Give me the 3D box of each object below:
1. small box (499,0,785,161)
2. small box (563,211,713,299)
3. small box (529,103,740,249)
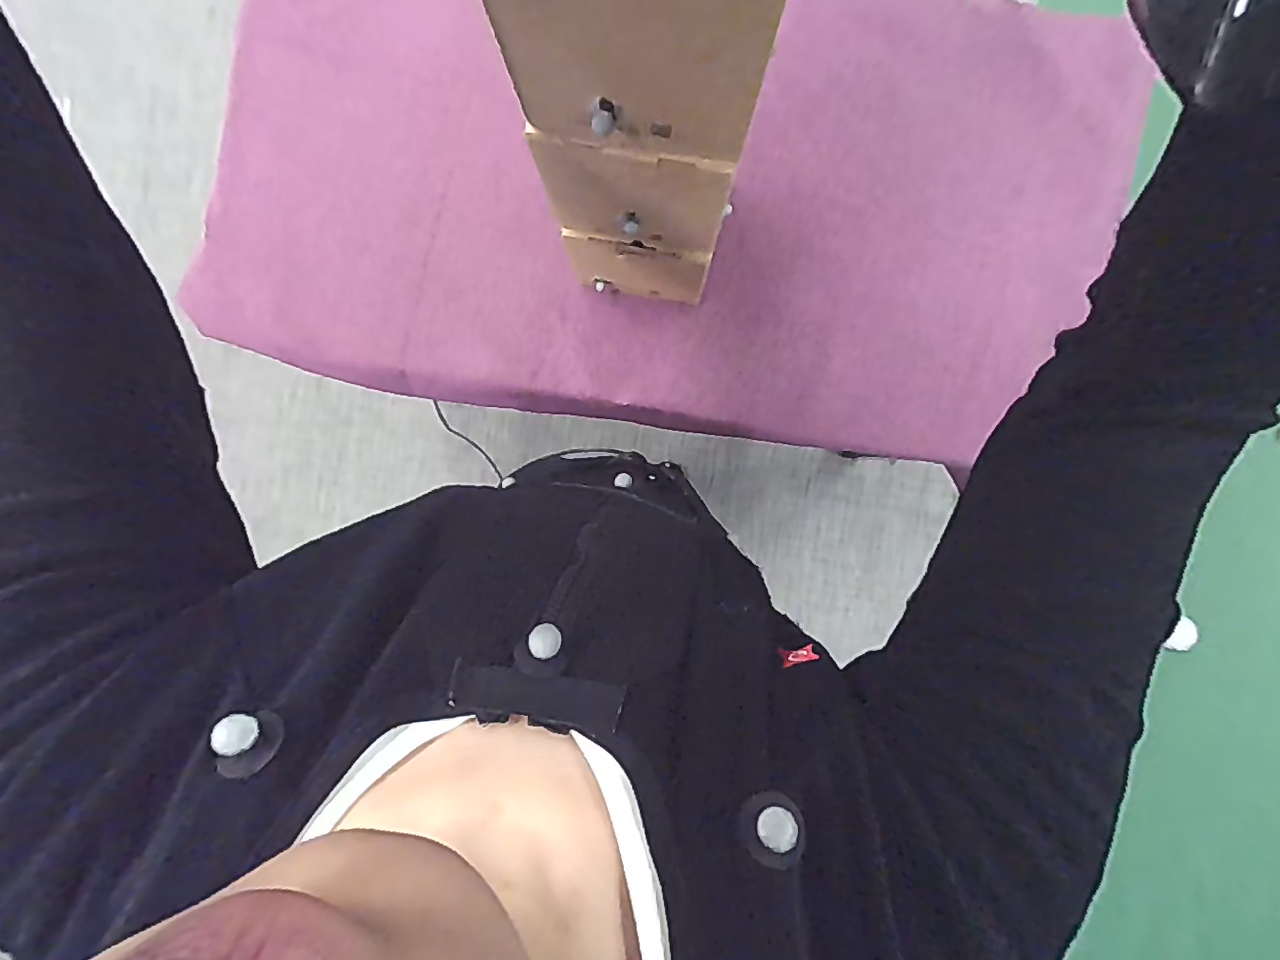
[{"bbox_3d":[0.008,-0.338,0.330,0.168,0.176,0.179,11,93,1],"label":"small box"},{"bbox_3d":[0.014,-0.338,0.657,0.168,0.176,0.179,11,92,1],"label":"small box"},{"bbox_3d":[0.011,-0.340,0.492,0.168,0.176,0.179,11,93,1],"label":"small box"}]
